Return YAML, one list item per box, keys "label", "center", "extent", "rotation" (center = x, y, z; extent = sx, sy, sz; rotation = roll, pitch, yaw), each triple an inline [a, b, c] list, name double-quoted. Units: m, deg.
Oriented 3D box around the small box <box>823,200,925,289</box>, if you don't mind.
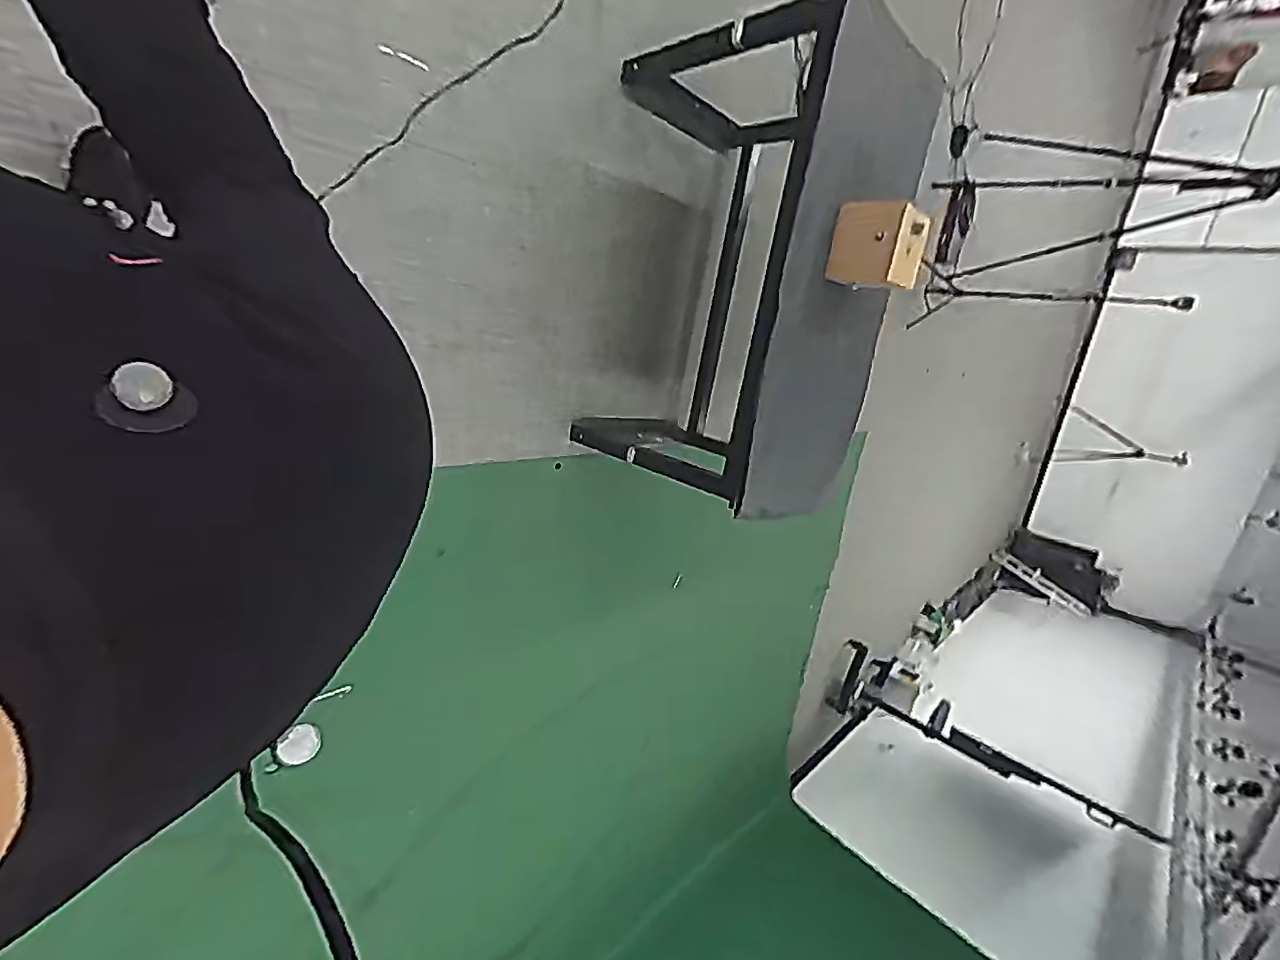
- label: "small box"
  center: [0.588, -0.592, 1.370]
  extent: [0.168, 0.176, 0.179]
  rotation: [-8, 113, -44]
